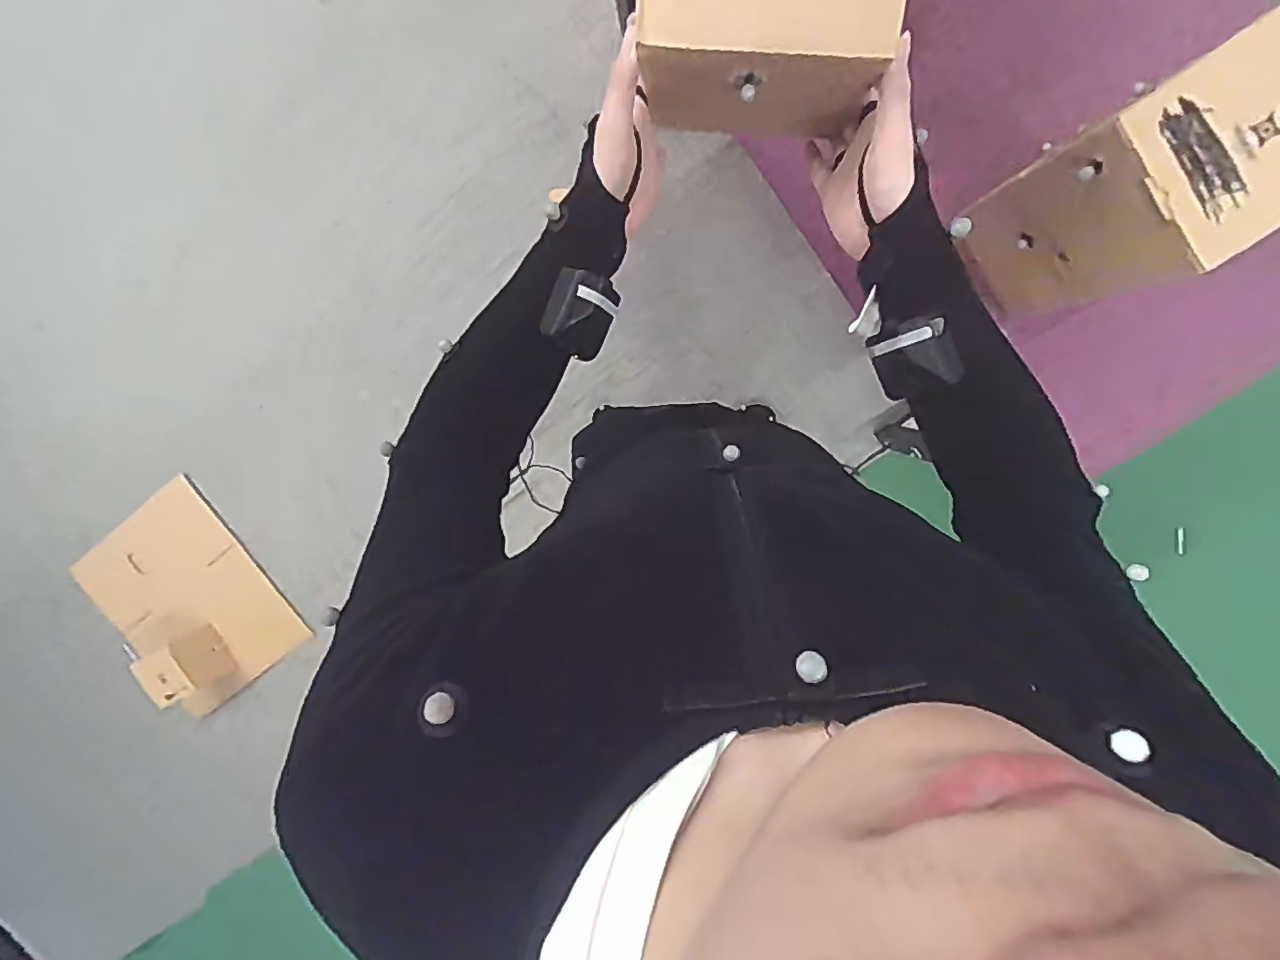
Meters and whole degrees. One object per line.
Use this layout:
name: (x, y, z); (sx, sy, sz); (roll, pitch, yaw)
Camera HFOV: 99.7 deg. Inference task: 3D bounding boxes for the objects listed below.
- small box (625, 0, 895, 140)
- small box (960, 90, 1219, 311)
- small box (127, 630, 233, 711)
small box: (0.089, -0.383, 0.416); (0.179, 0.176, 0.168); (6, 107, 3)
small box: (0.572, -0.348, 0.718); (0.168, 0.176, 0.179); (-34, 96, 10)
small box: (-1.524, 0.623, 1.802); (0.168, 0.176, 0.179); (-26, 96, 9)
